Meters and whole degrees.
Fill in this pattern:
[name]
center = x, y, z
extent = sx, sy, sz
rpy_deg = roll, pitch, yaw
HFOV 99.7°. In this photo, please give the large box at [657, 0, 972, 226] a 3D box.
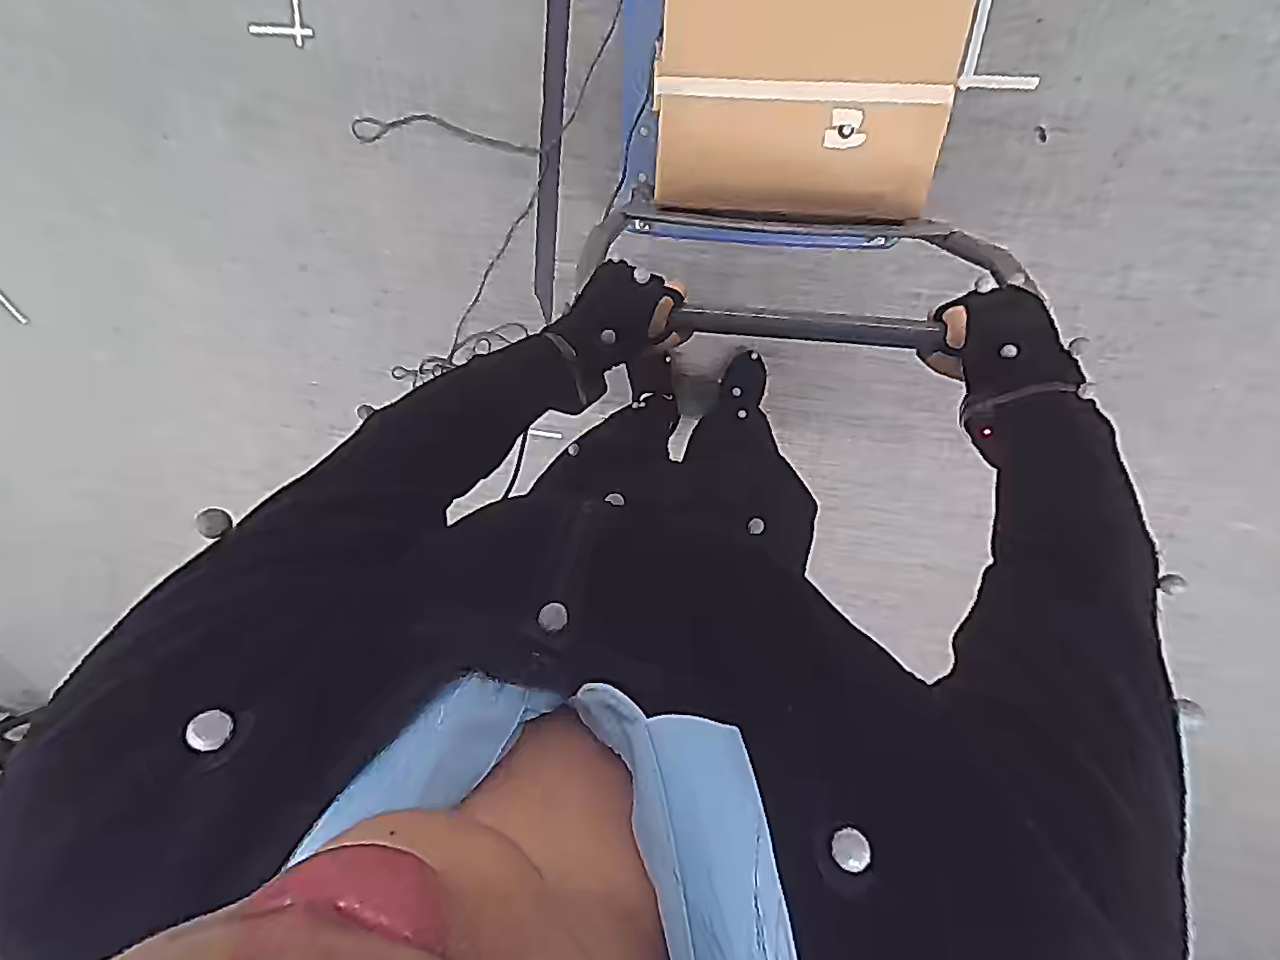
[large box]
center = 0.239, -0.605, 0.892
extent = 0.408, 0.320, 0.320
rpy_deg = 5, 119, 3
